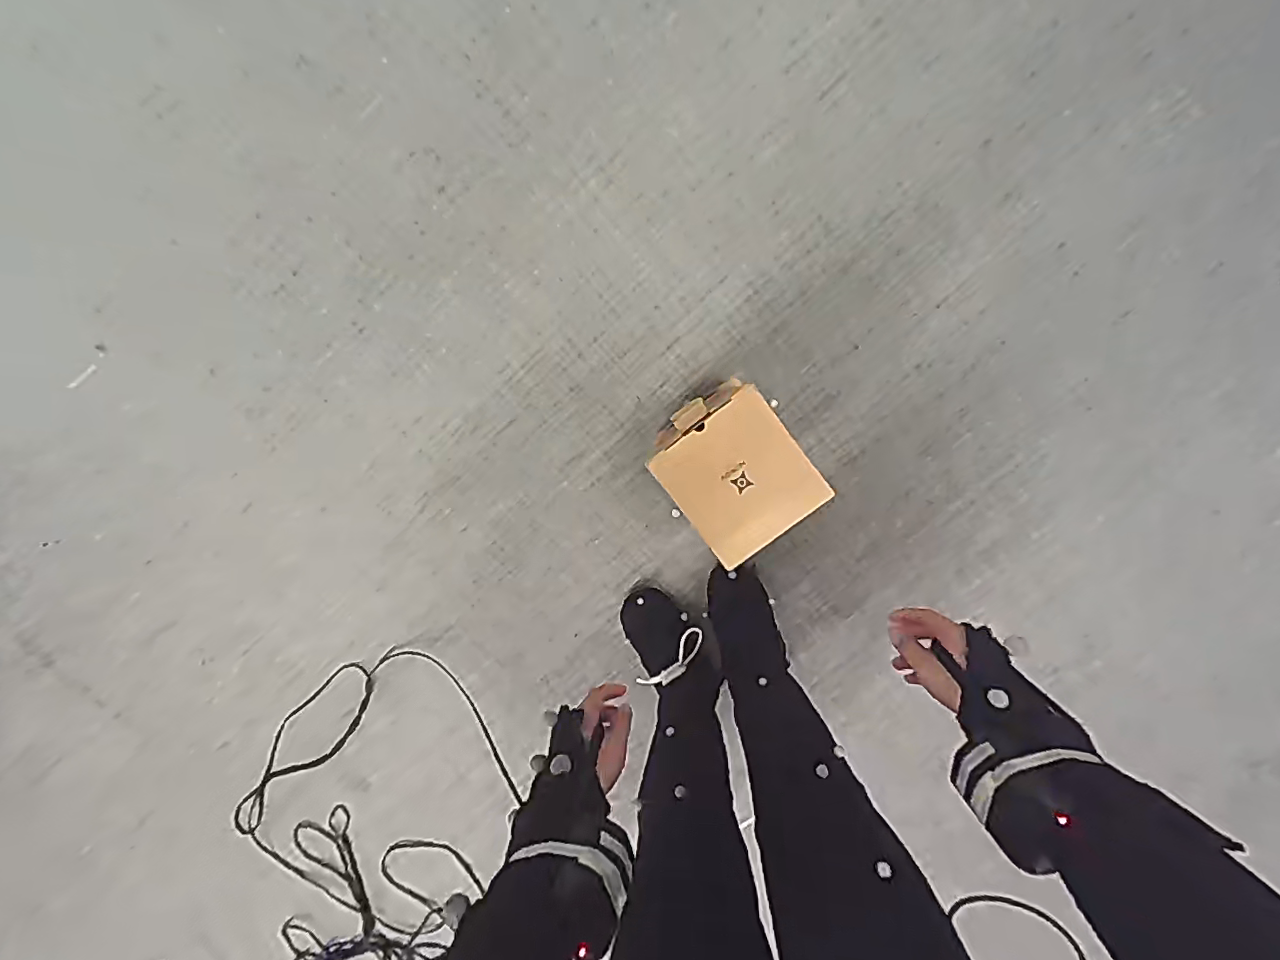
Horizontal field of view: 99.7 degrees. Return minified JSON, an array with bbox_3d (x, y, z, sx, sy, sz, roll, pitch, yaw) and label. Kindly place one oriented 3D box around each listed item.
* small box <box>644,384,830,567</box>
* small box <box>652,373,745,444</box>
[{"bbox_3d":[0.126,-0.015,0.745,0.168,0.176,0.179,-38,94,8],"label":"small box"},{"bbox_3d":[0.136,-0.055,0.904,0.168,0.176,0.179,-38,93,8],"label":"small box"}]
